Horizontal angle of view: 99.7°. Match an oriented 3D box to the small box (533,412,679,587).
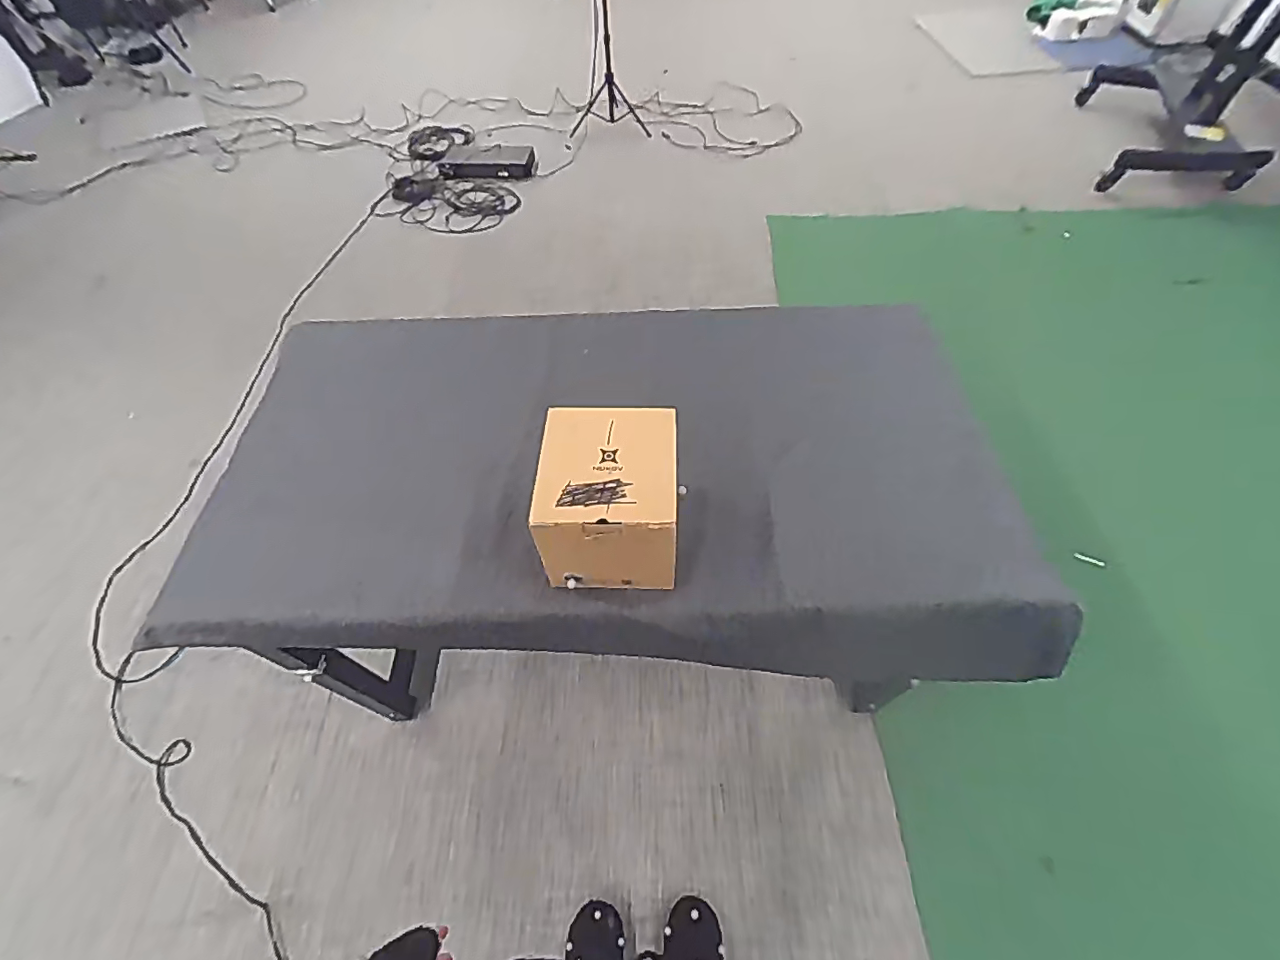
[{"bbox_3d":[-0.033,0.030,0.717,0.168,0.176,0.179,2,54,3],"label":"small box"}]
